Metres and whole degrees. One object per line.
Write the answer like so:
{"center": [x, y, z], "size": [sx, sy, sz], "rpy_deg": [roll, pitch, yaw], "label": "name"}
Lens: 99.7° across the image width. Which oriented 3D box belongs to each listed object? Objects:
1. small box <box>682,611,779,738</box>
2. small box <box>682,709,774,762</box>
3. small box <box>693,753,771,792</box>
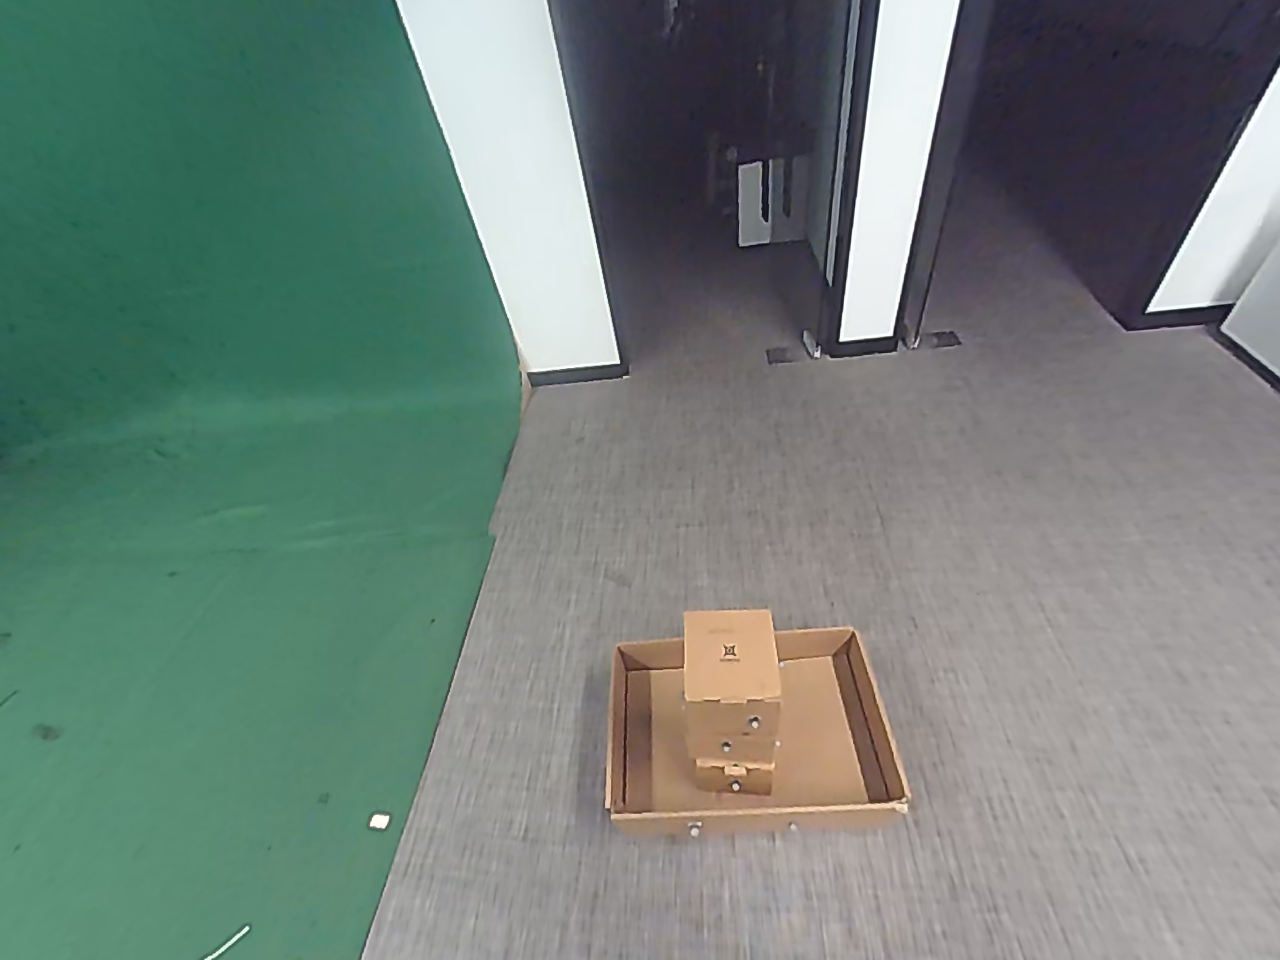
{"center": [0.167, 0.367, 1.018], "size": [0.168, 0.176, 0.179], "rpy_deg": [-2, 43, 7], "label": "small box"}
{"center": [0.189, 0.475, 1.137], "size": [0.179, 0.176, 0.168], "rpy_deg": [0, 44, 12], "label": "small box"}
{"center": [0.214, 0.598, 1.243], "size": [0.168, 0.176, 0.179], "rpy_deg": [-1, 46, 10], "label": "small box"}
